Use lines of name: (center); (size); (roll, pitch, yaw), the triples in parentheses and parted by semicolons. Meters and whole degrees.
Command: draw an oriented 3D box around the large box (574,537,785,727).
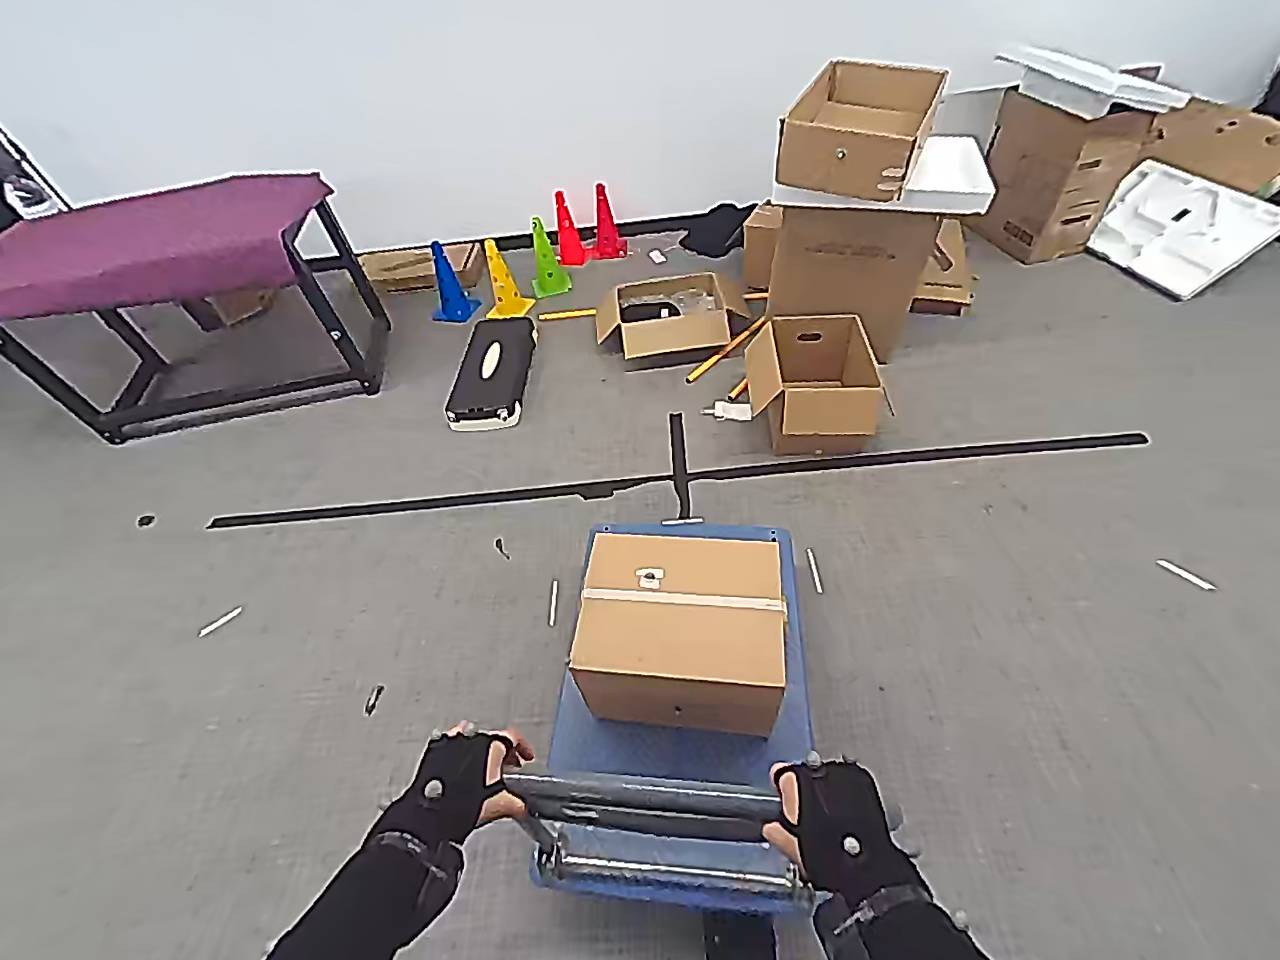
large box: (0.100, 0.344, 1.220); (0.408, 0.320, 0.320); (1, 49, 9)
